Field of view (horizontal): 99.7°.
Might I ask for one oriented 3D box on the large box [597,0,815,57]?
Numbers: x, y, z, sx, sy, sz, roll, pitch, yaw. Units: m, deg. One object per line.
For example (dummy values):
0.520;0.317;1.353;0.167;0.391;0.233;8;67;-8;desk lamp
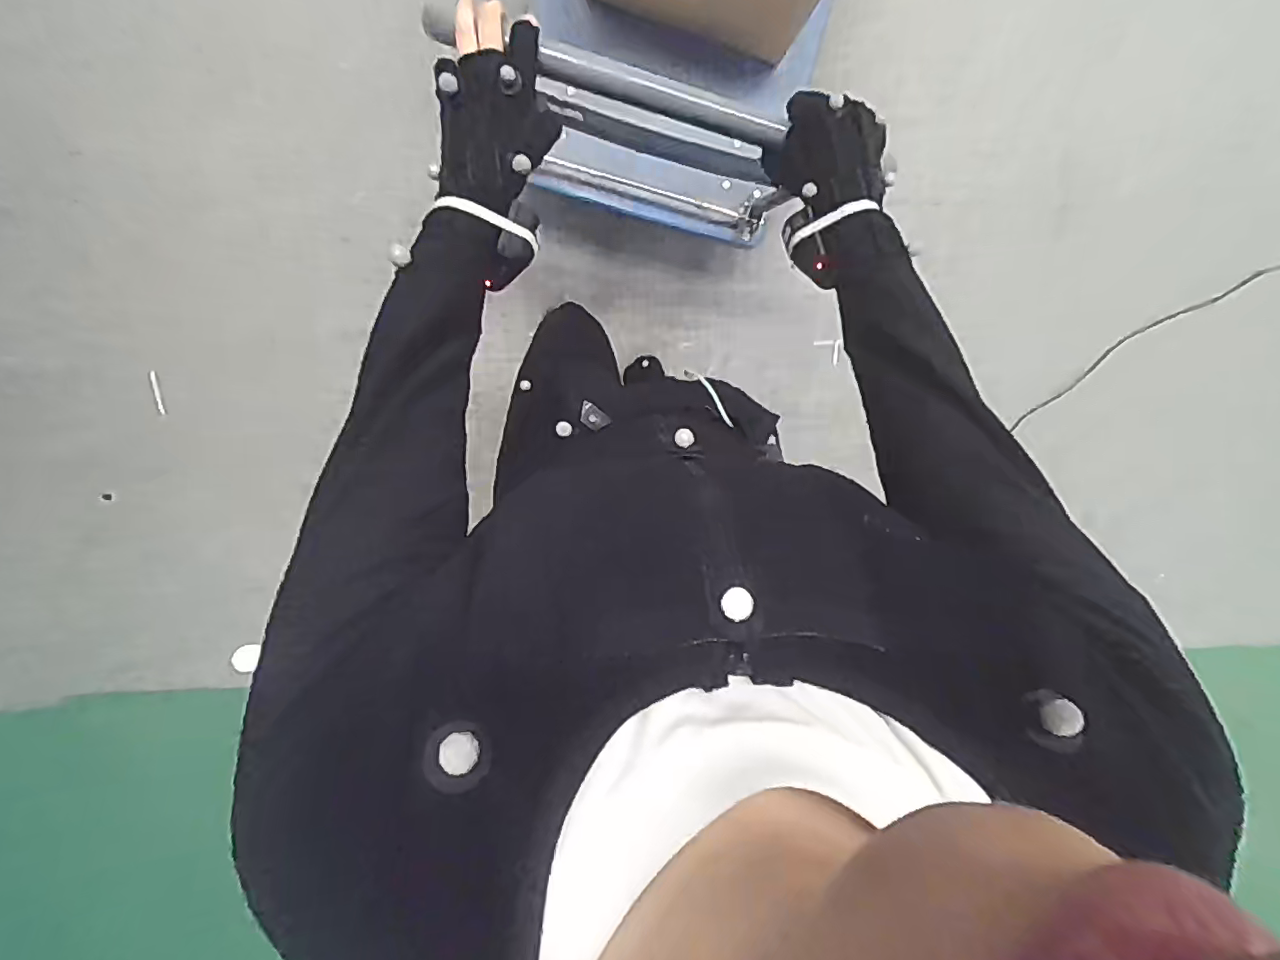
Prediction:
0.131;-0.989;0.887;0.408;0.320;0.320;14;103;-6;large box
